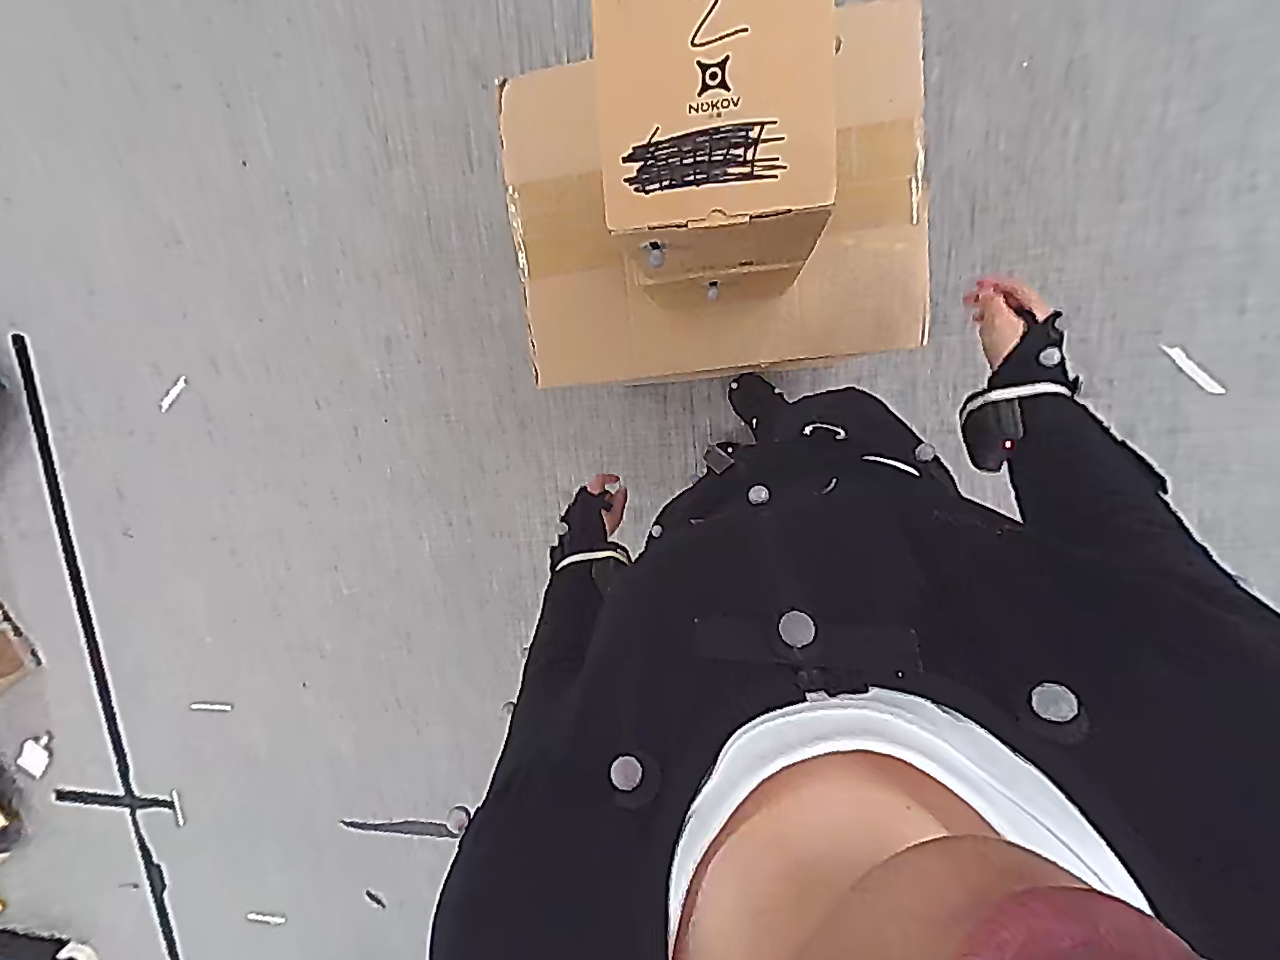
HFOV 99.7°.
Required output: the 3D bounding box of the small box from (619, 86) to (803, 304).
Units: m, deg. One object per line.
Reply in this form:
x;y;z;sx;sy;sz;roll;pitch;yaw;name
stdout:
0.082;-0.304;0.616;0.179;0.176;0.168;-4;99;11;small box
